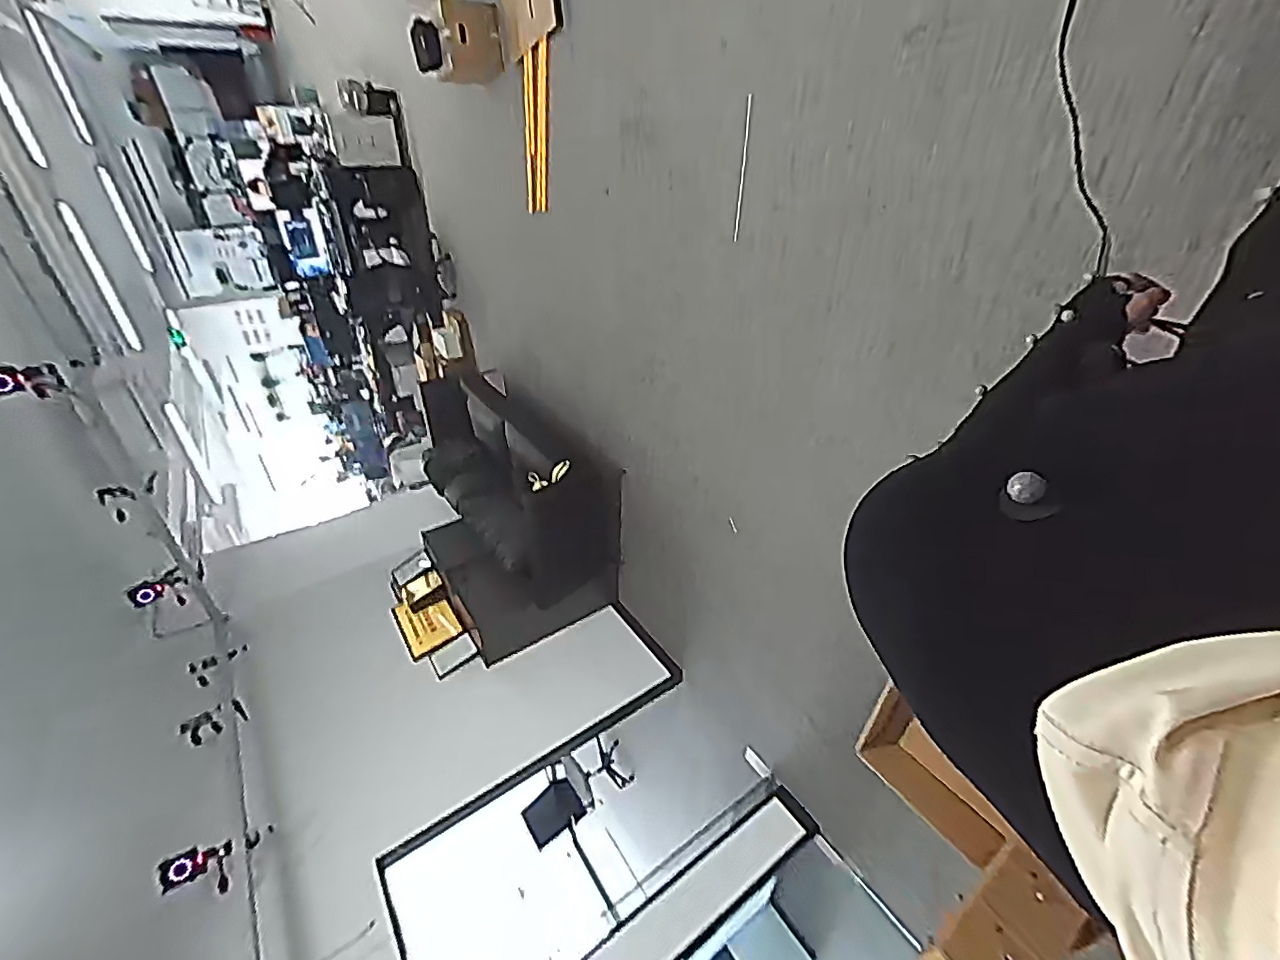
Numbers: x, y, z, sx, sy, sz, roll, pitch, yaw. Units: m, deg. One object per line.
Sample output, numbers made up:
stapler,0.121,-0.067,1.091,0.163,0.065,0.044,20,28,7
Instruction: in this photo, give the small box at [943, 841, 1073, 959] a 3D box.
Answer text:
small box,0.849,0.988,1.249,0.168,0.176,0.179,41,140,37

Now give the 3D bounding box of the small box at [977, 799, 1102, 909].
small box,0.981,0.936,1.330,0.168,0.176,0.179,40,140,39

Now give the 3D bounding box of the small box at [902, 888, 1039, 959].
small box,0.716,1.040,1.170,0.168,0.176,0.179,43,141,36
